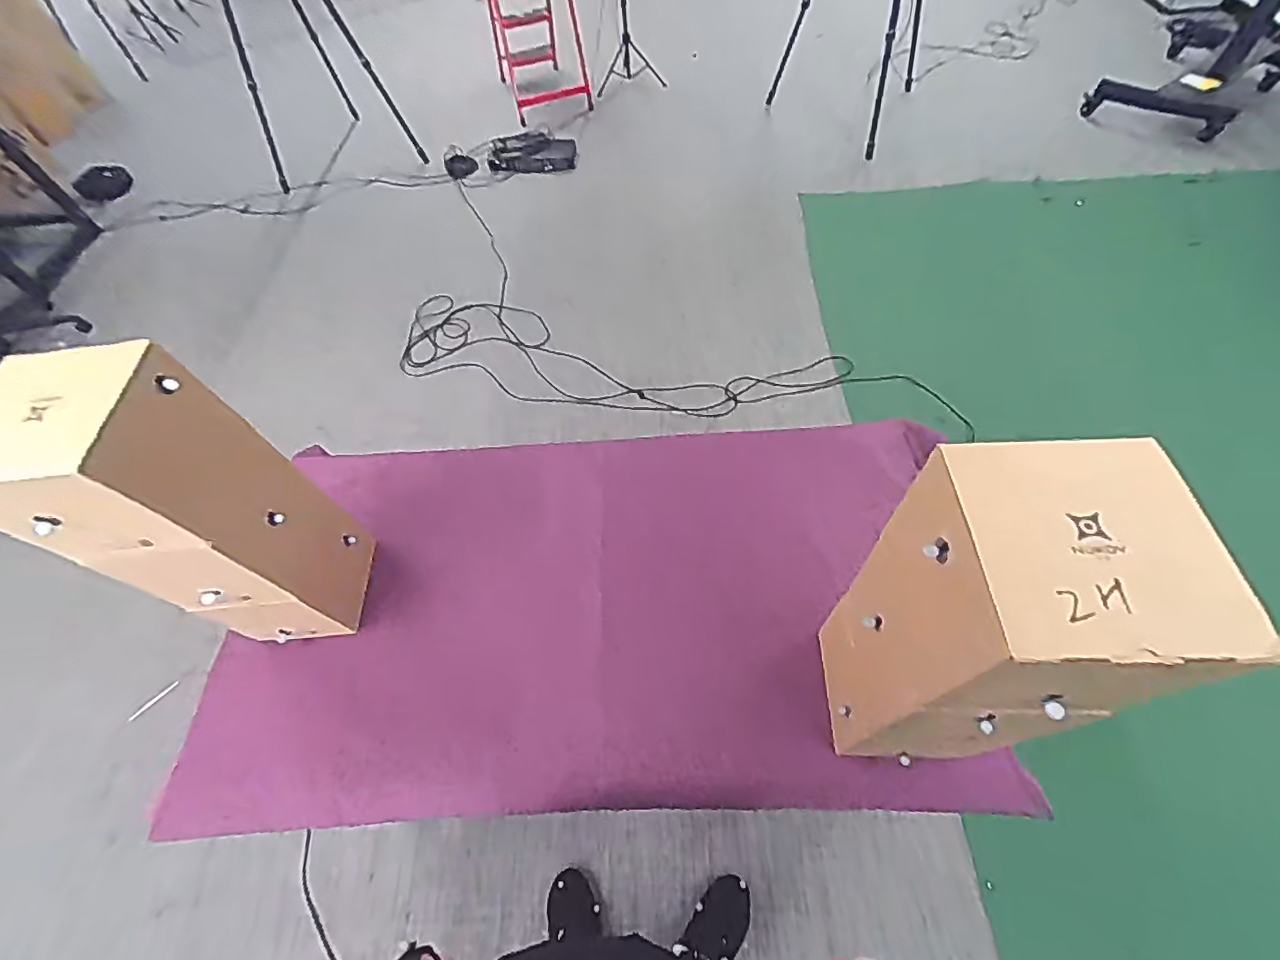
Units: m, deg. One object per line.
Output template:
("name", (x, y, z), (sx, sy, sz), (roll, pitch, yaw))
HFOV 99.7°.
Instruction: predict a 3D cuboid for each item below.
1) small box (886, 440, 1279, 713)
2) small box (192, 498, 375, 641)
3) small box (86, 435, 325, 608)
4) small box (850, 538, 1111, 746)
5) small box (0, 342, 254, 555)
("small box", (0.326, 0.085, 0.454), (0.168, 0.176, 0.179), (-1, 58, 6))
("small box", (-0.561, 0.149, 0.884), (0.168, 0.176, 0.179), (-5, 58, 2))
("small box", (-0.572, 0.061, 0.746), (0.168, 0.176, 0.179), (-6, 58, 2))
("small box", (0.340, 0.178, 0.589), (0.168, 0.176, 0.179), (-1, 56, 6))
("small box", (-0.585, -0.025, 0.610), (0.168, 0.176, 0.179), (-6, 57, 2))
